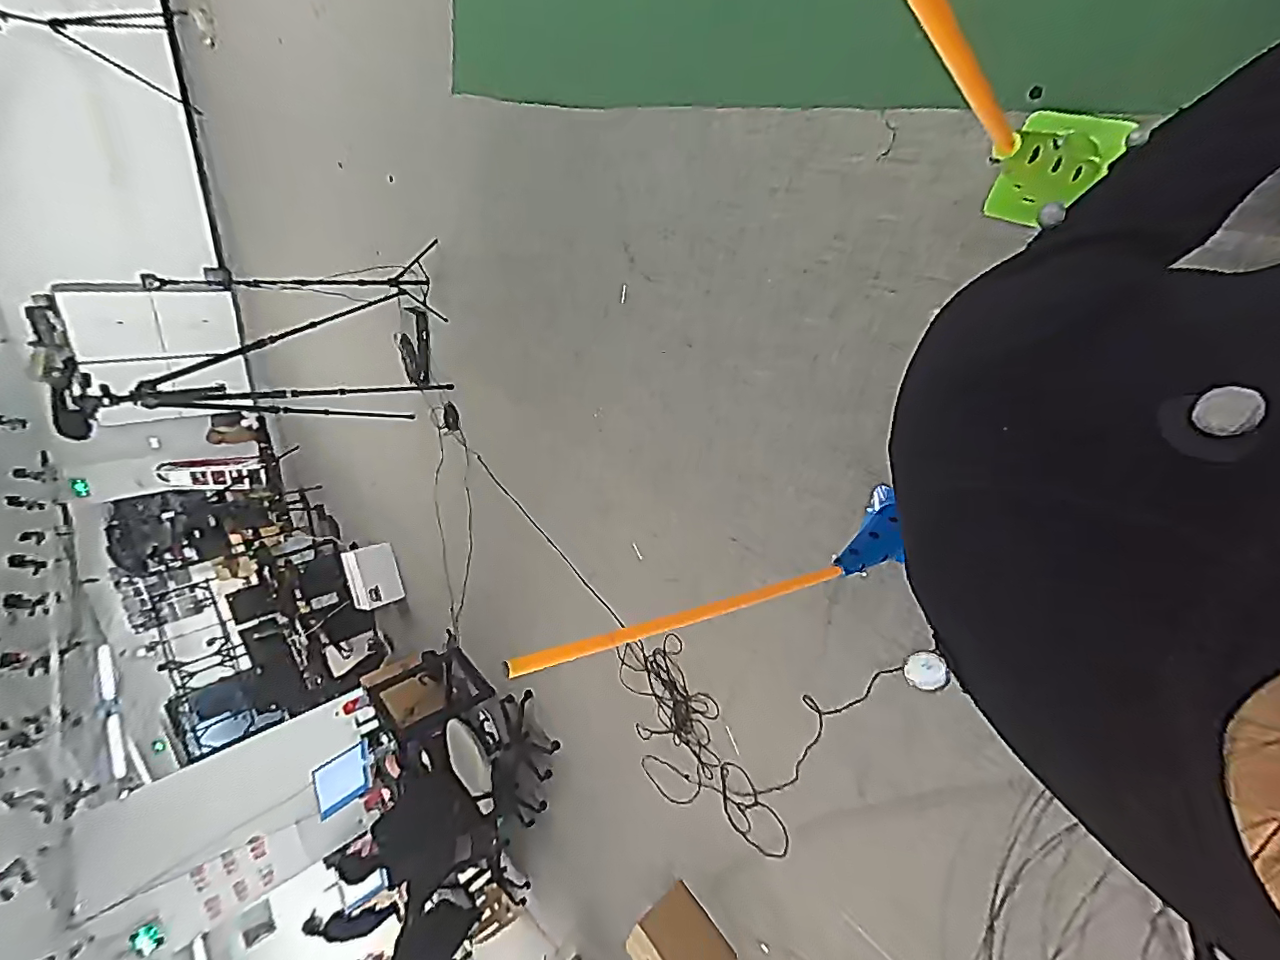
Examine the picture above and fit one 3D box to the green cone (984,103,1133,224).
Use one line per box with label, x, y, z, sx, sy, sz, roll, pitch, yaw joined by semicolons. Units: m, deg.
green cone;0.729;-0.615;1.007;0.202;0.368;0.200;37;128;34
